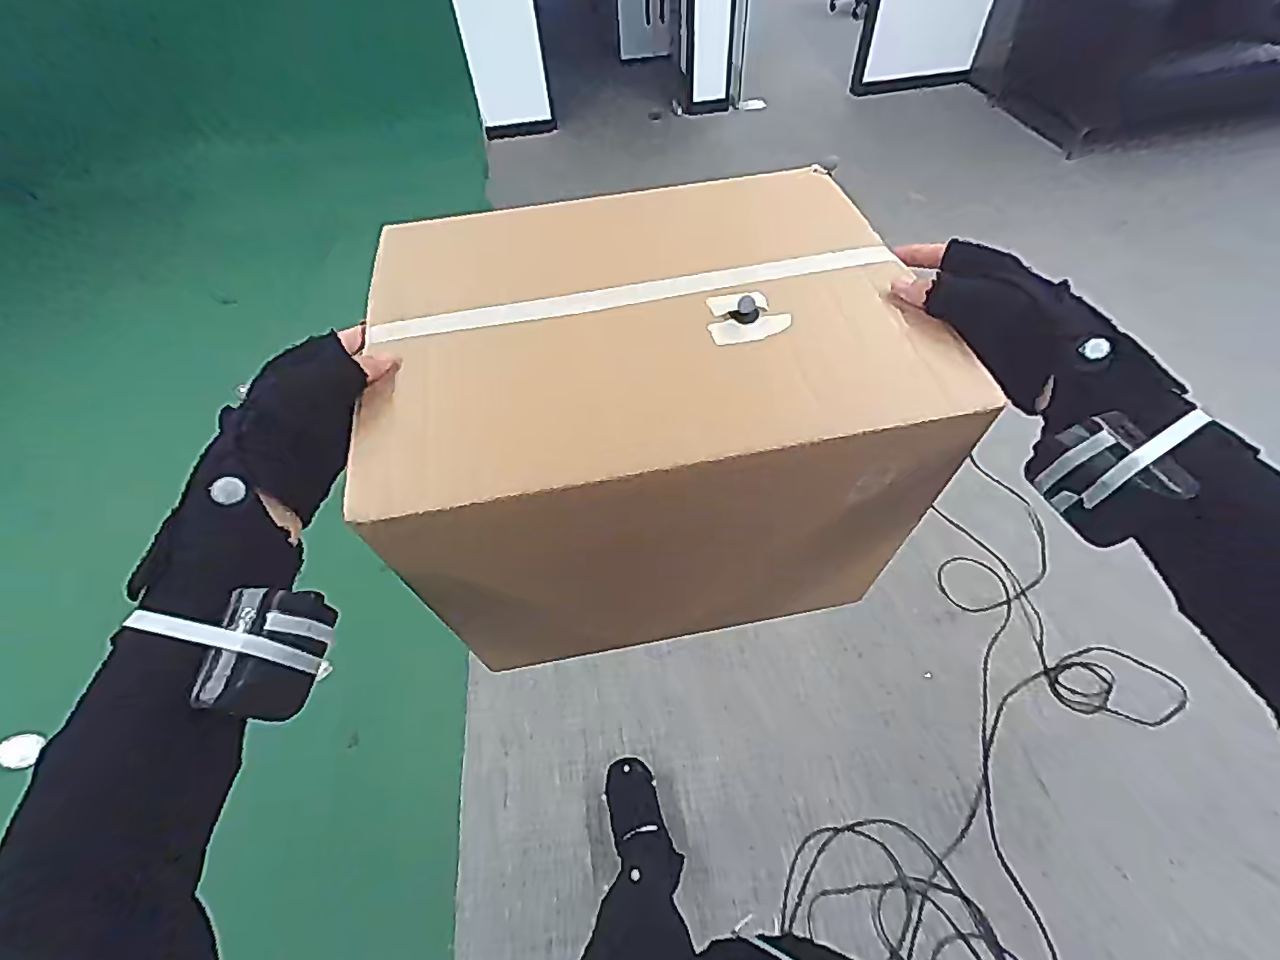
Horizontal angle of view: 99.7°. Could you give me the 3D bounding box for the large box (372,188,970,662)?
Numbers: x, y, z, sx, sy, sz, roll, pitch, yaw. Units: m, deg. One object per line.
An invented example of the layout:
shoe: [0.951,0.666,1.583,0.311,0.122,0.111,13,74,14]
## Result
large box: [0.005,-0.047,0.549,0.408,0.320,0.320,-10,55,-5]
